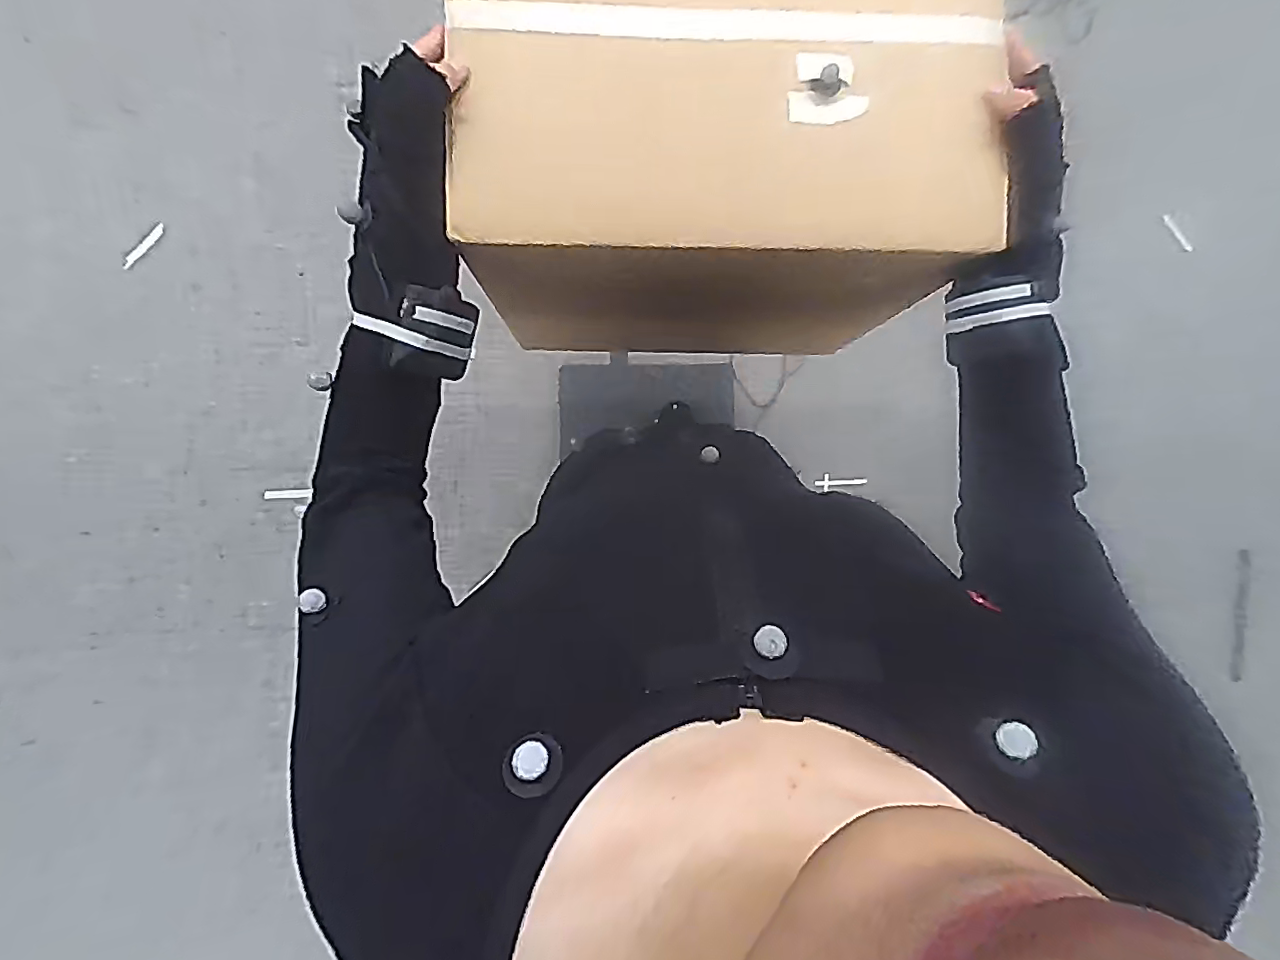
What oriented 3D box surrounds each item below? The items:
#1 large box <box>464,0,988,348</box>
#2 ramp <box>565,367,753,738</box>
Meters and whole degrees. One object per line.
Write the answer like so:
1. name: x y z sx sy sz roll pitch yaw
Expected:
1. large box: 0.058 -0.329 0.557 0.408 0.320 0.320 0 89 -3
2. ramp: 0.039 0.175 1.478 0.509 0.206 0.991 -3 92 1
